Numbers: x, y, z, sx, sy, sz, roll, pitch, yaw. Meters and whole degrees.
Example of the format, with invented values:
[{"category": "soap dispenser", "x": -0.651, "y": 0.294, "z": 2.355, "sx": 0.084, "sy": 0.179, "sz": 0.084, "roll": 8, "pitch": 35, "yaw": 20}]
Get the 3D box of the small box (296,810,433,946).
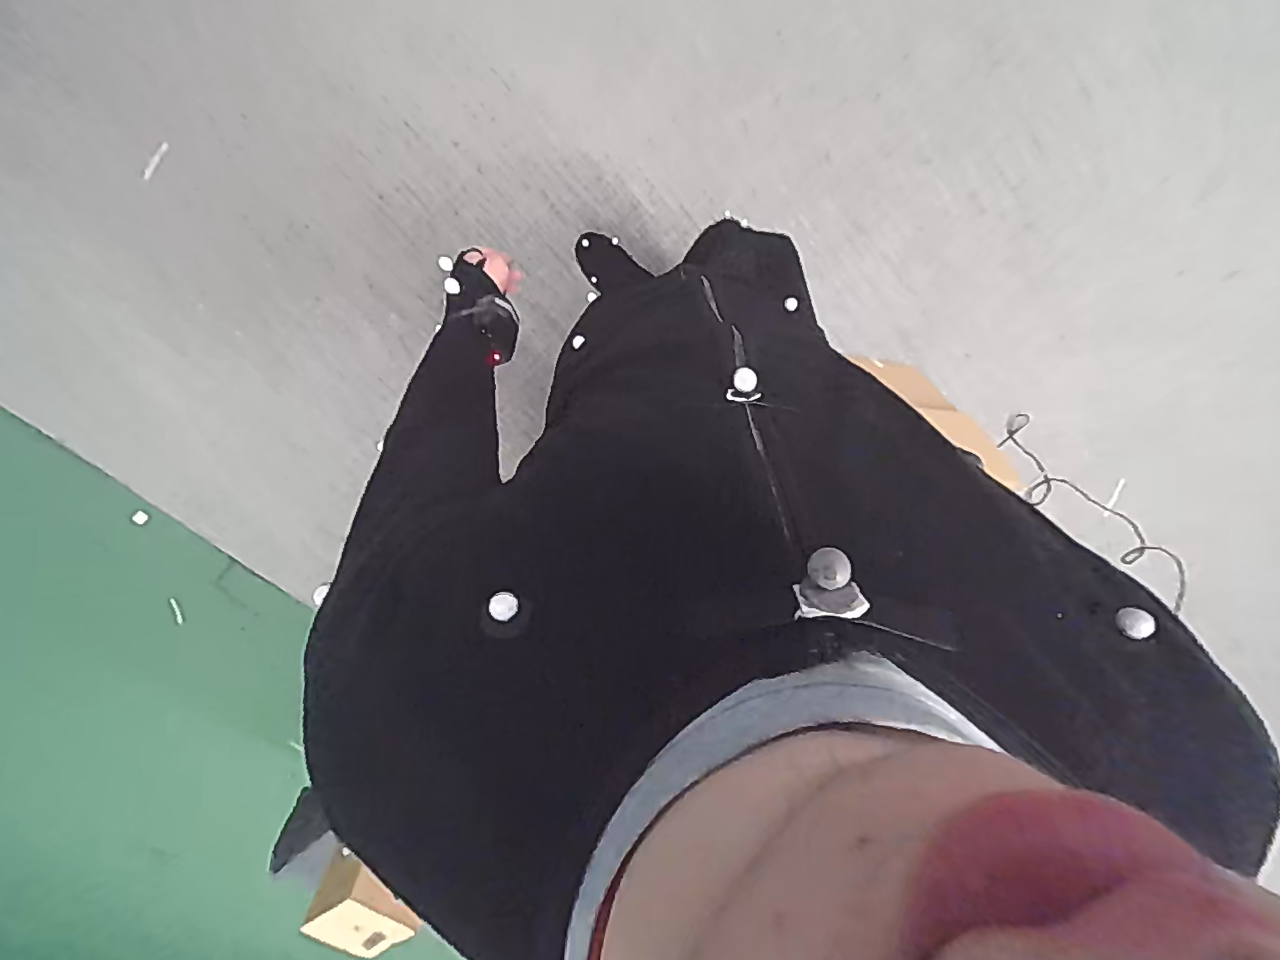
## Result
[{"category": "small box", "x": -0.589, "y": 0.866, "z": 1.184, "sx": 0.168, "sy": 0.176, "sz": 0.179, "roll": -36, "pitch": 113, "yaw": 15}]
